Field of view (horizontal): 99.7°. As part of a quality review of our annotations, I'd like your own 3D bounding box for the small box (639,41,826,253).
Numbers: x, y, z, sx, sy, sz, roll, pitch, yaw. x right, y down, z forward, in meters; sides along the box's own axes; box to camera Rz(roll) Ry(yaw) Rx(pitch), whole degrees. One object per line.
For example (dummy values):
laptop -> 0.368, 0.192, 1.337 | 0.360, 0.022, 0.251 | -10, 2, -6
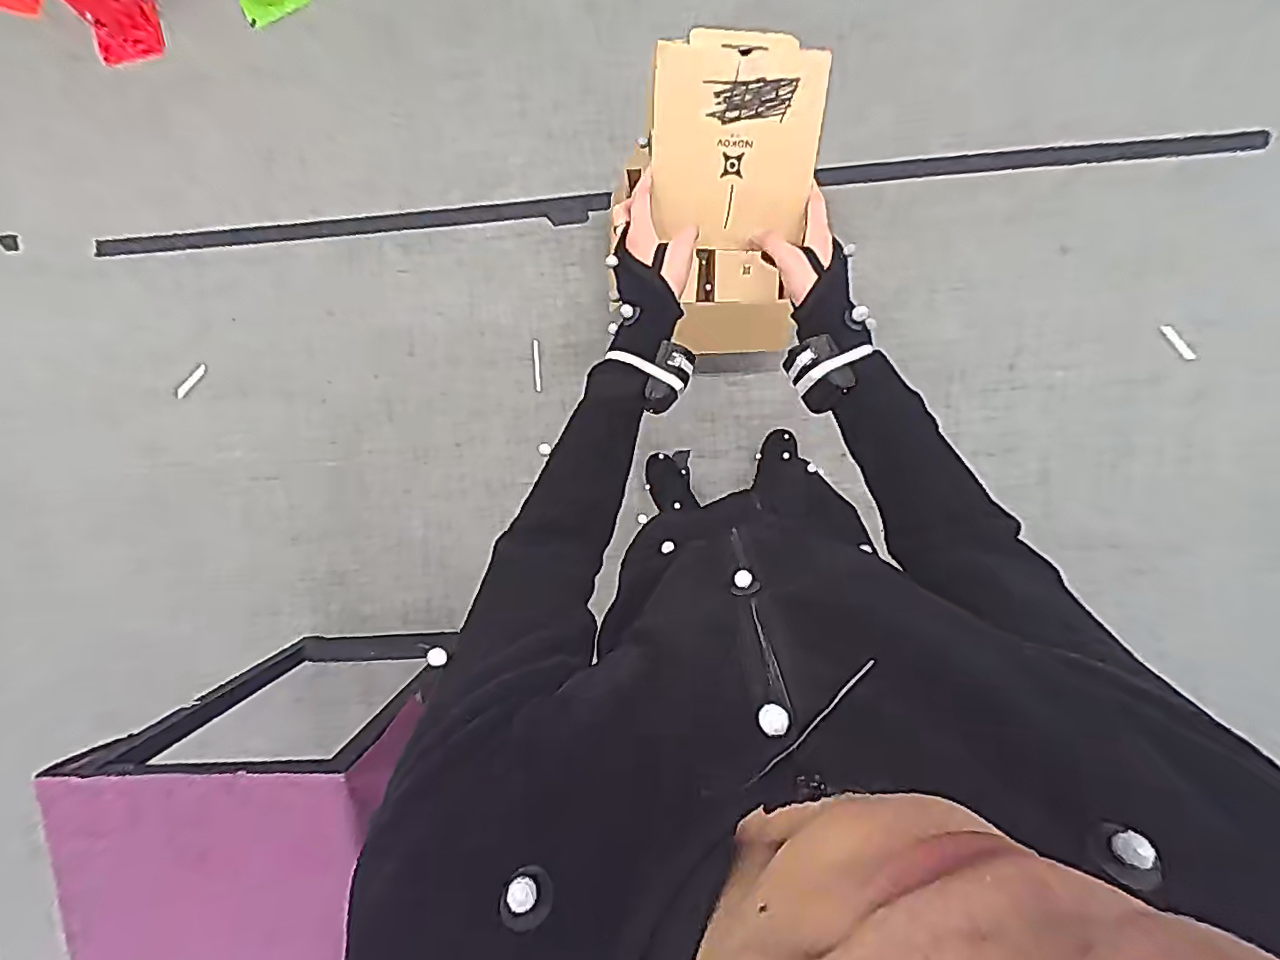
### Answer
small box -> 0.086, -0.356, 0.608 | 0.168, 0.176, 0.179 | 0, 116, -4
